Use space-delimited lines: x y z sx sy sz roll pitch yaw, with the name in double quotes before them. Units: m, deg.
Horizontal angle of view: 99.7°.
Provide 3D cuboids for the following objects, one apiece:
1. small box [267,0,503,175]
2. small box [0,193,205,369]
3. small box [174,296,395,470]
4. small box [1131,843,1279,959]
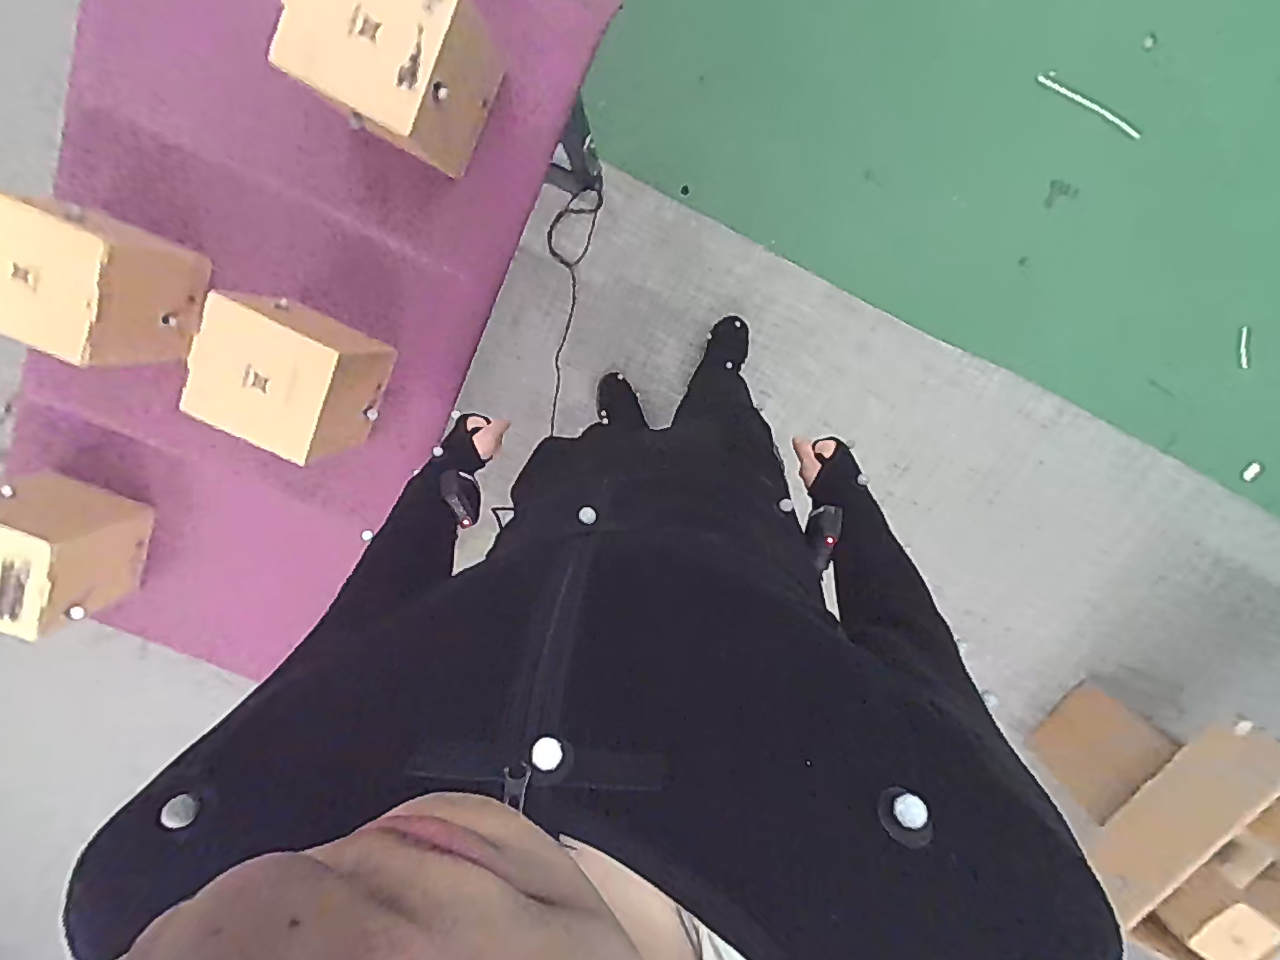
"small box" -0.298 -0.512 0.666 0.179 0.176 0.168 28 104 -4
"small box" -0.754 -0.261 0.733 0.179 0.176 0.168 23 102 -6
"small box" -0.485 -0.137 0.761 0.179 0.176 0.168 25 103 -5
"small box" 1.428 1.075 1.371 0.179 0.176 0.168 36 100 -7
